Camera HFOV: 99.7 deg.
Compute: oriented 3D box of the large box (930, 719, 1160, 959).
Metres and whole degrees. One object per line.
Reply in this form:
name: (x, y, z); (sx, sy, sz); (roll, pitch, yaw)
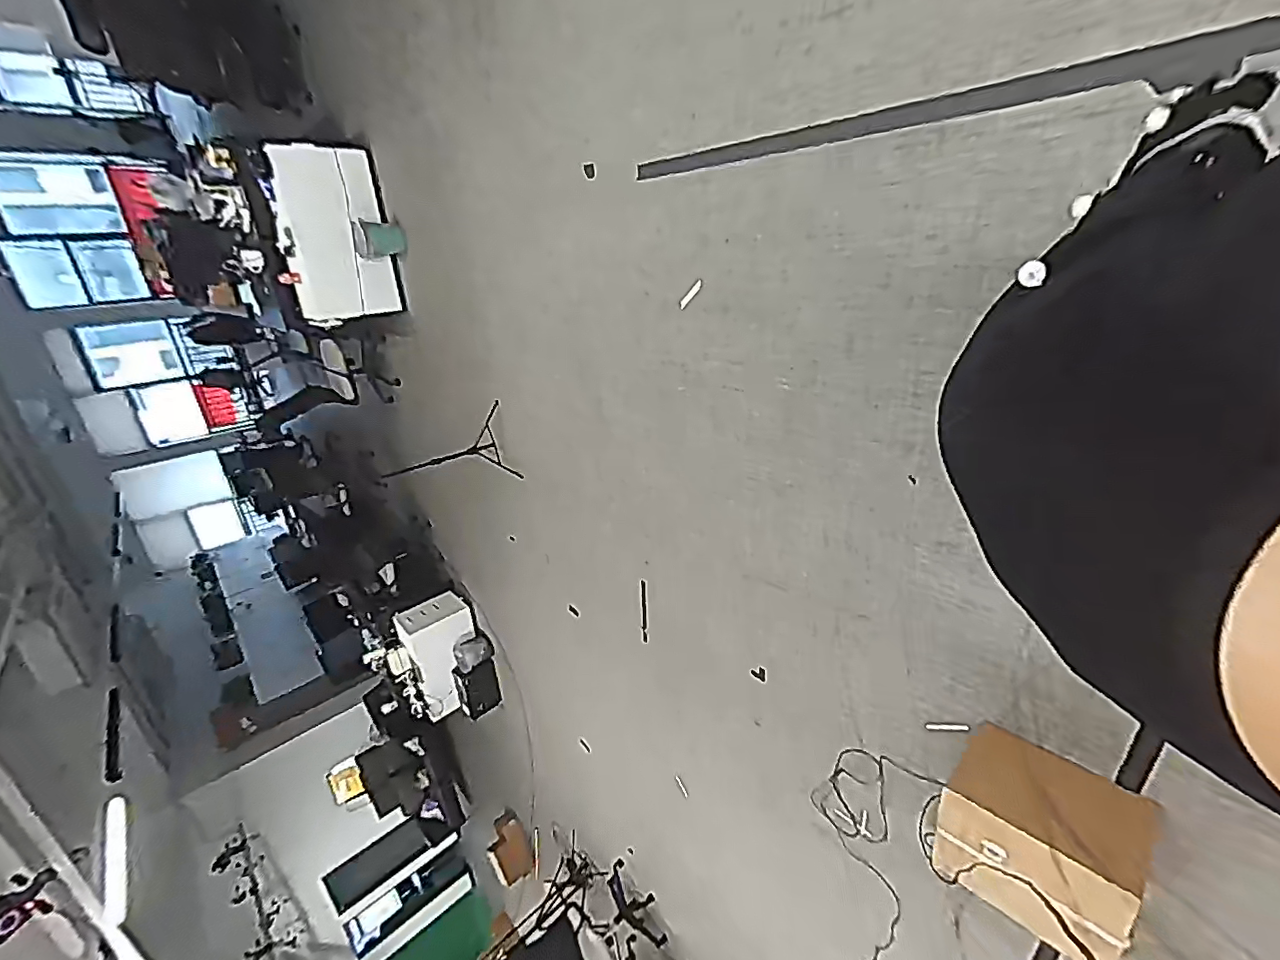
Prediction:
large box: (1.060, 0.933, 1.441); (0.408, 0.320, 0.320); (19, 121, 46)
